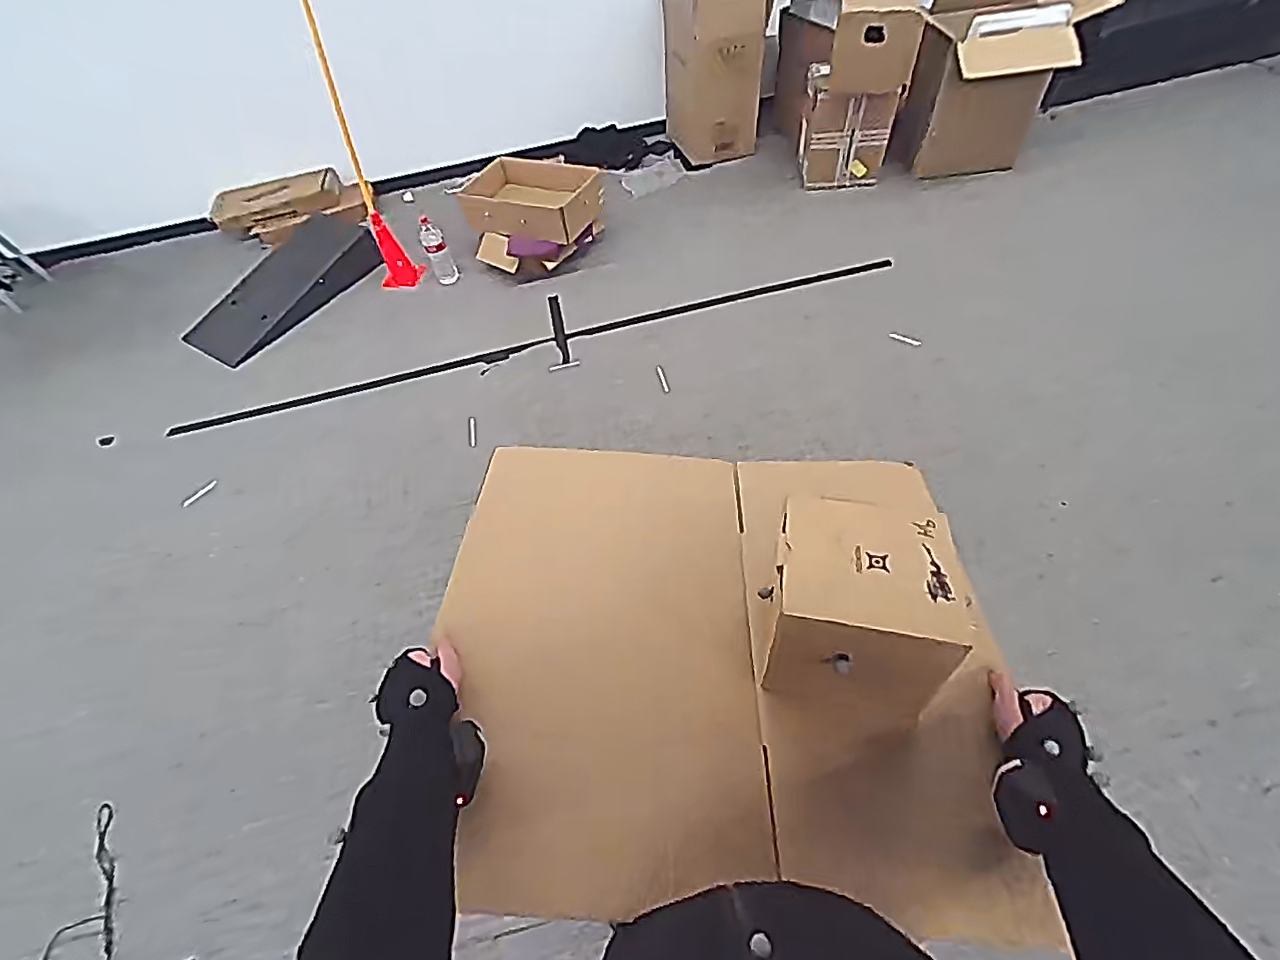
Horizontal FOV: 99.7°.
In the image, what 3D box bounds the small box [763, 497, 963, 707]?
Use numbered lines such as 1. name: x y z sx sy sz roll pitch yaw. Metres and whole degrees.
1. small box: 0.241 0.142 0.628 0.179 0.176 0.168 6 47 12
